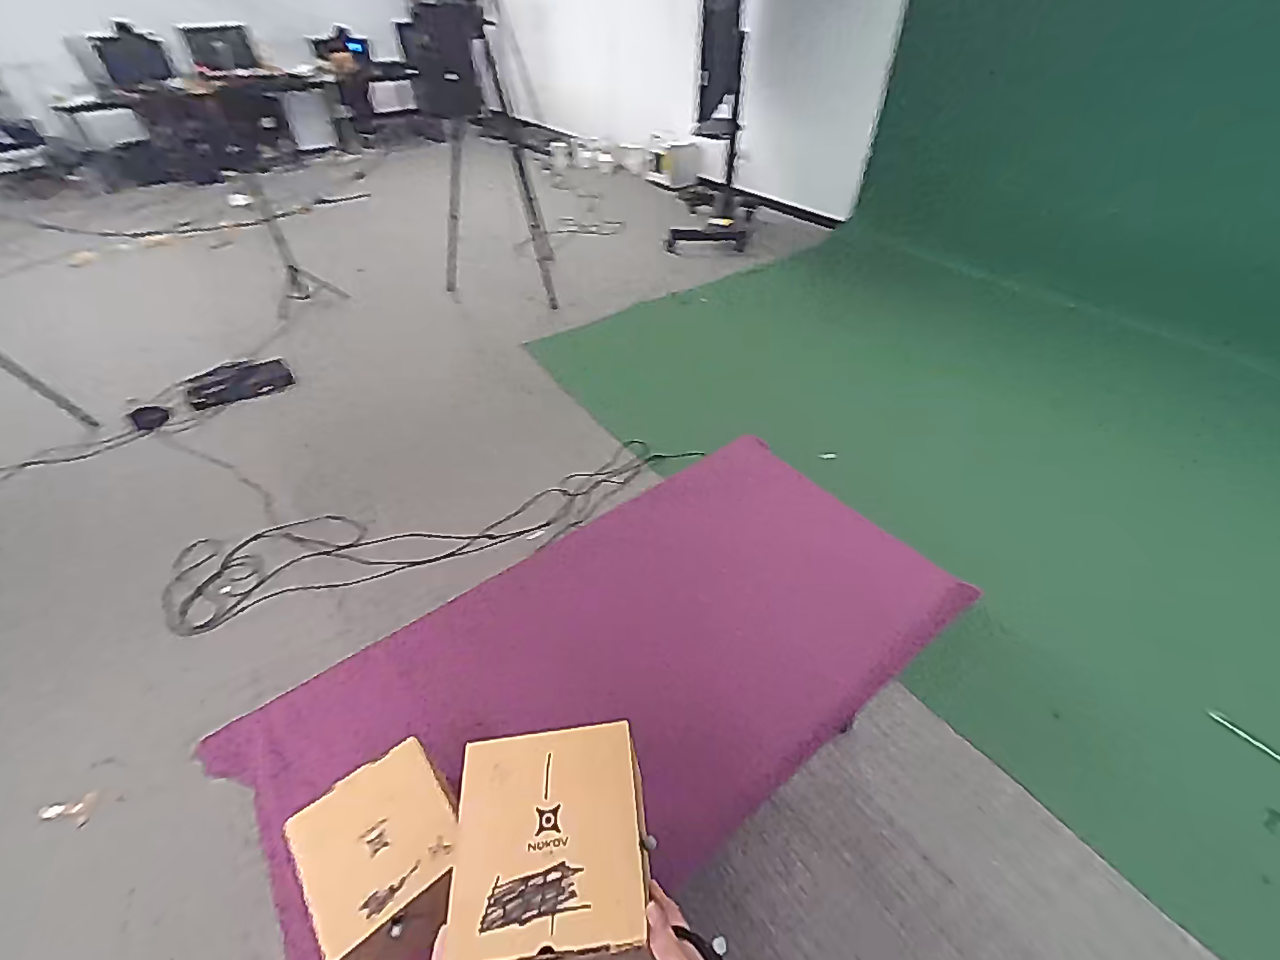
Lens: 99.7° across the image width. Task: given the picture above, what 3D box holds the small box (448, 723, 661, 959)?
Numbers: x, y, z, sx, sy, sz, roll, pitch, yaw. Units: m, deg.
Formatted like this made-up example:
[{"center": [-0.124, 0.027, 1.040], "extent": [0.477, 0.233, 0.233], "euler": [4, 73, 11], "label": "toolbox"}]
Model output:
[{"center": [-0.072, 0.369, 0.538], "extent": [0.168, 0.176, 0.179], "euler": [-7, 44, -1], "label": "small box"}]

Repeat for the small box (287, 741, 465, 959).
[{"center": [-0.313, 0.488, 0.697], "extent": [0.168, 0.176, 0.179], "euler": [-30, 50, -27], "label": "small box"}]
